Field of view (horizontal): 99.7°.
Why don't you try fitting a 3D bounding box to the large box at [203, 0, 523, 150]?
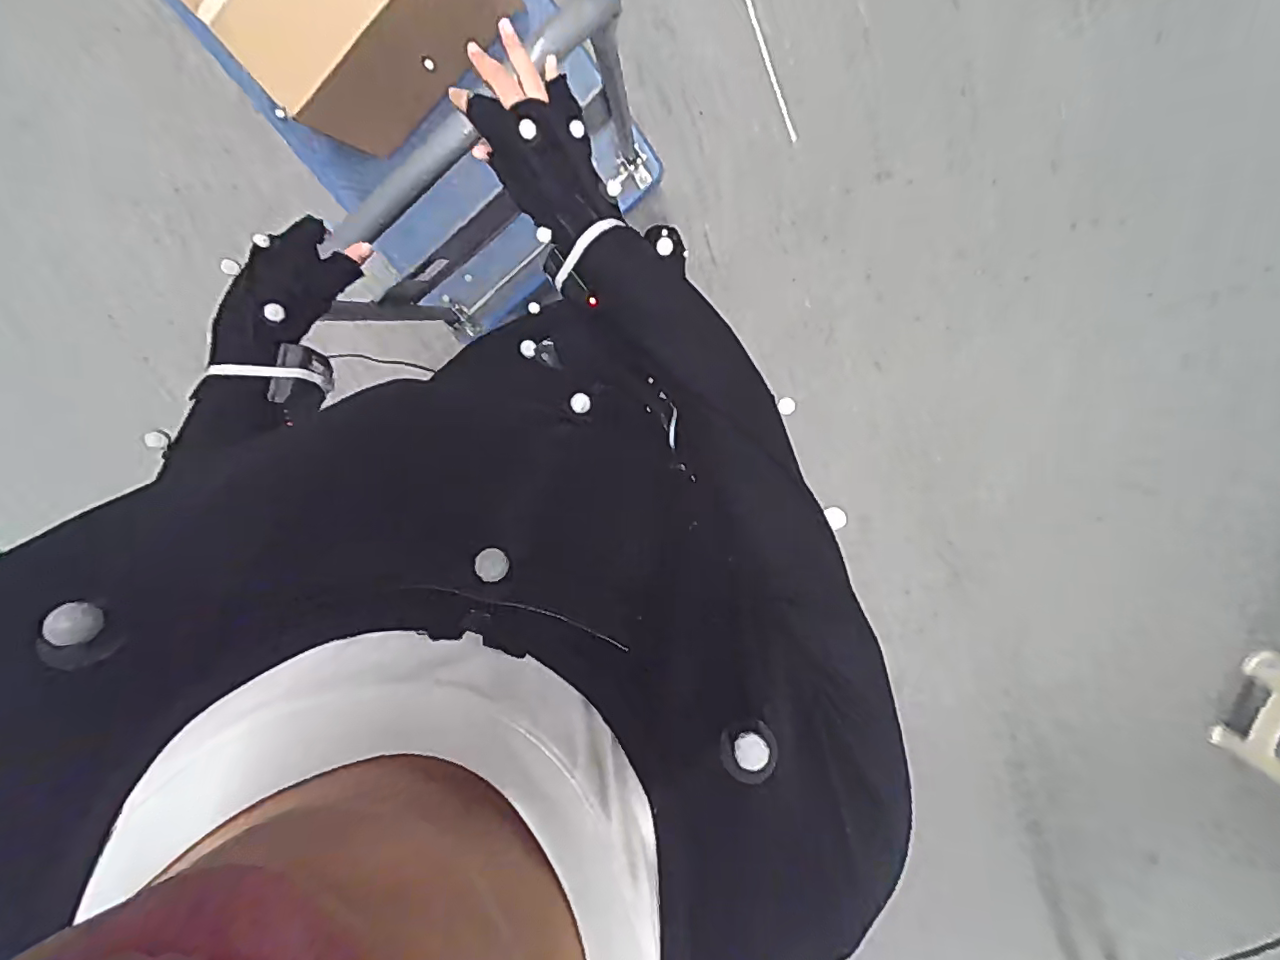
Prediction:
[{"bbox_3d":[-0.451,-0.837,0.872,0.408,0.320,0.320,-38,105,14],"label":"large box"}]
